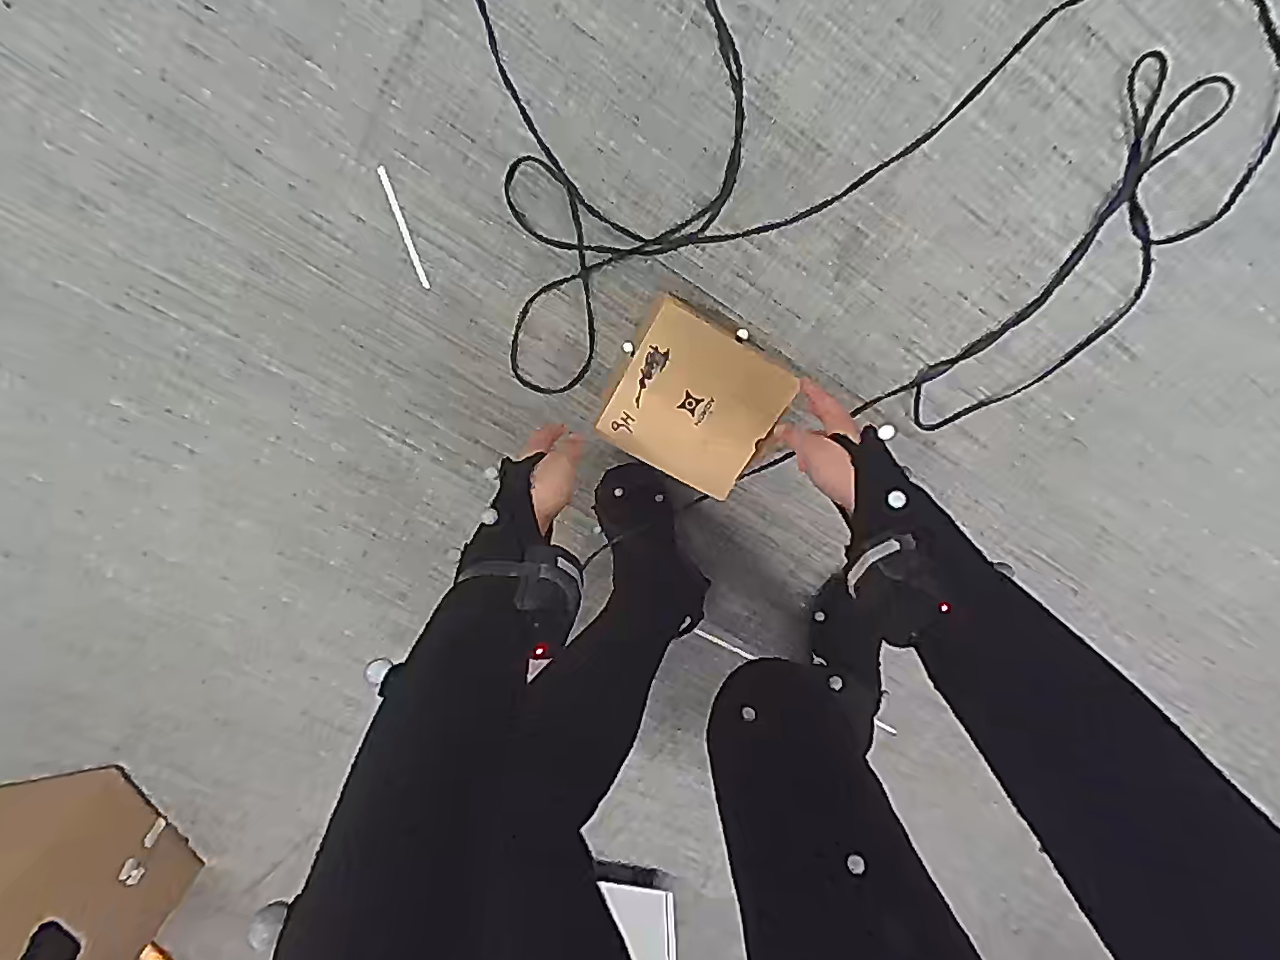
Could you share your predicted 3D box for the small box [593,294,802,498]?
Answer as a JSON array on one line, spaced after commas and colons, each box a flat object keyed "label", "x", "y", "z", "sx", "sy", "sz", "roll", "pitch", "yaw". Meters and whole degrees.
[{"label": "small box", "x": 0.061, "y": -0.112, "z": 0.663, "sx": 0.179, "sy": 0.176, "sz": 0.168, "roll": 27, "pitch": 110, "yaw": -12}]
